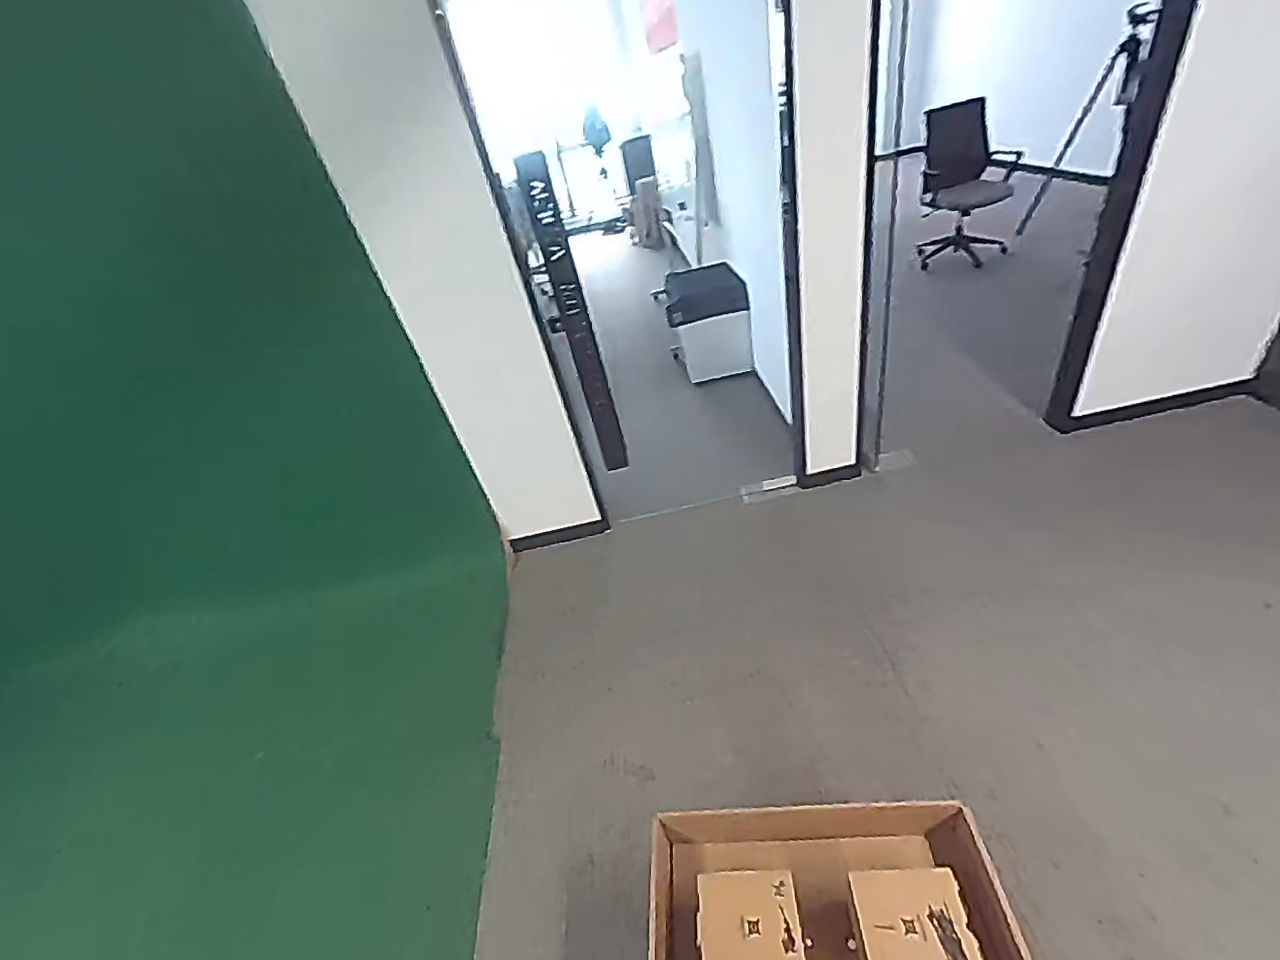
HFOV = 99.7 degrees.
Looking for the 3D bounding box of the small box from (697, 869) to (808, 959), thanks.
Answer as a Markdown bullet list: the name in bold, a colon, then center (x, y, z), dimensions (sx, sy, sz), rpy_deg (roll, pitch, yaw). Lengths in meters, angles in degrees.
- **small box**: center (0.206, 0.831, 0.975), dimensions (0.179, 0.176, 0.168), rpy_deg (-9, 35, 10)
